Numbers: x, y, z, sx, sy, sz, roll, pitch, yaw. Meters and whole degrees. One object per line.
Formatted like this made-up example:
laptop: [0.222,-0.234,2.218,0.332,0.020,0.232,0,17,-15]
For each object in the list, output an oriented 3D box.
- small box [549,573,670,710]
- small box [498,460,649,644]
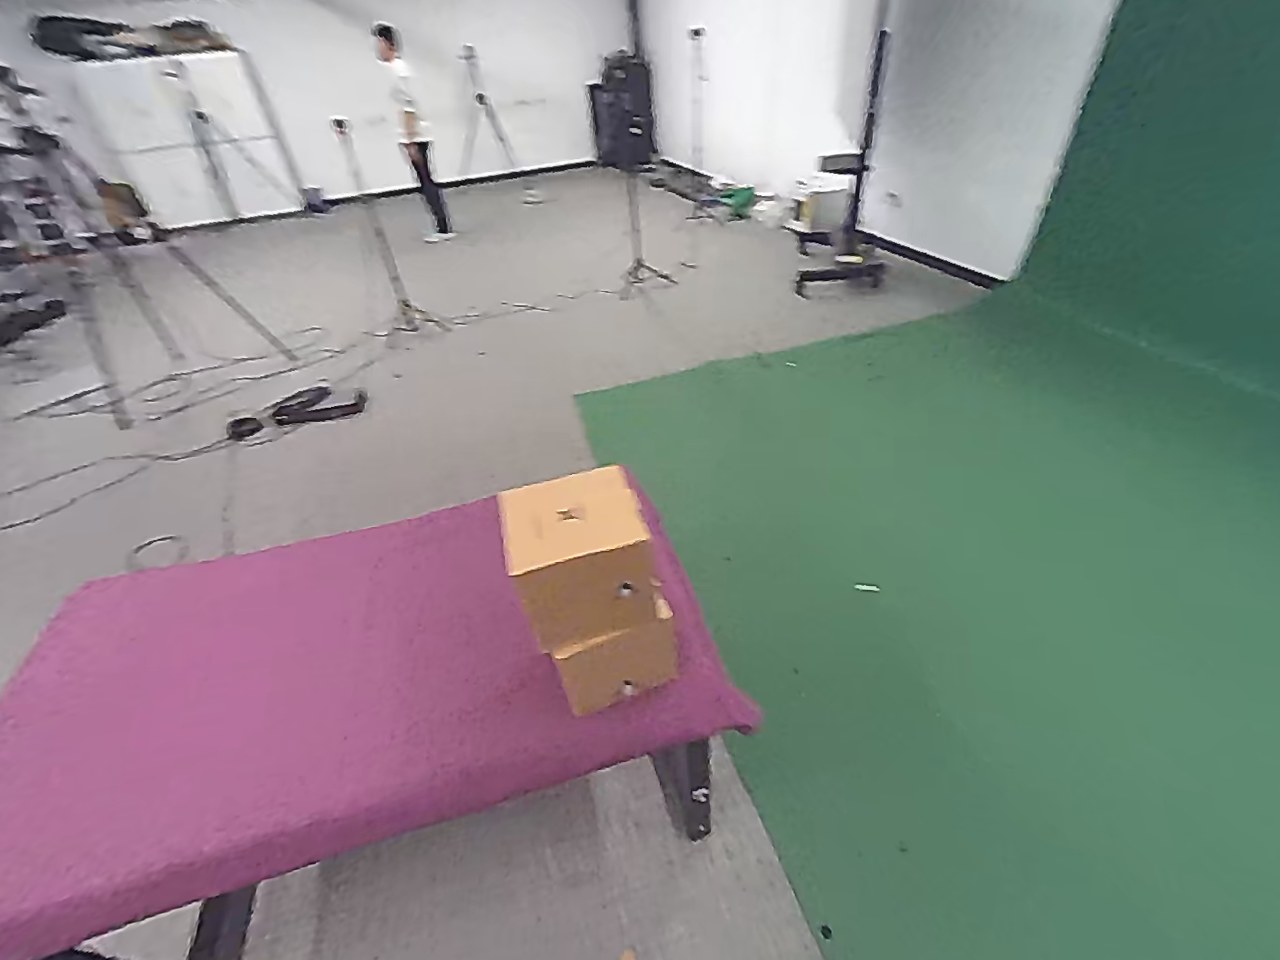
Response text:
small box: [-0.061,0.229,0.862,0.179,0.176,0.168,-18,40,-13]
small box: [-0.089,0.101,0.762,0.179,0.176,0.168,-14,40,-8]
